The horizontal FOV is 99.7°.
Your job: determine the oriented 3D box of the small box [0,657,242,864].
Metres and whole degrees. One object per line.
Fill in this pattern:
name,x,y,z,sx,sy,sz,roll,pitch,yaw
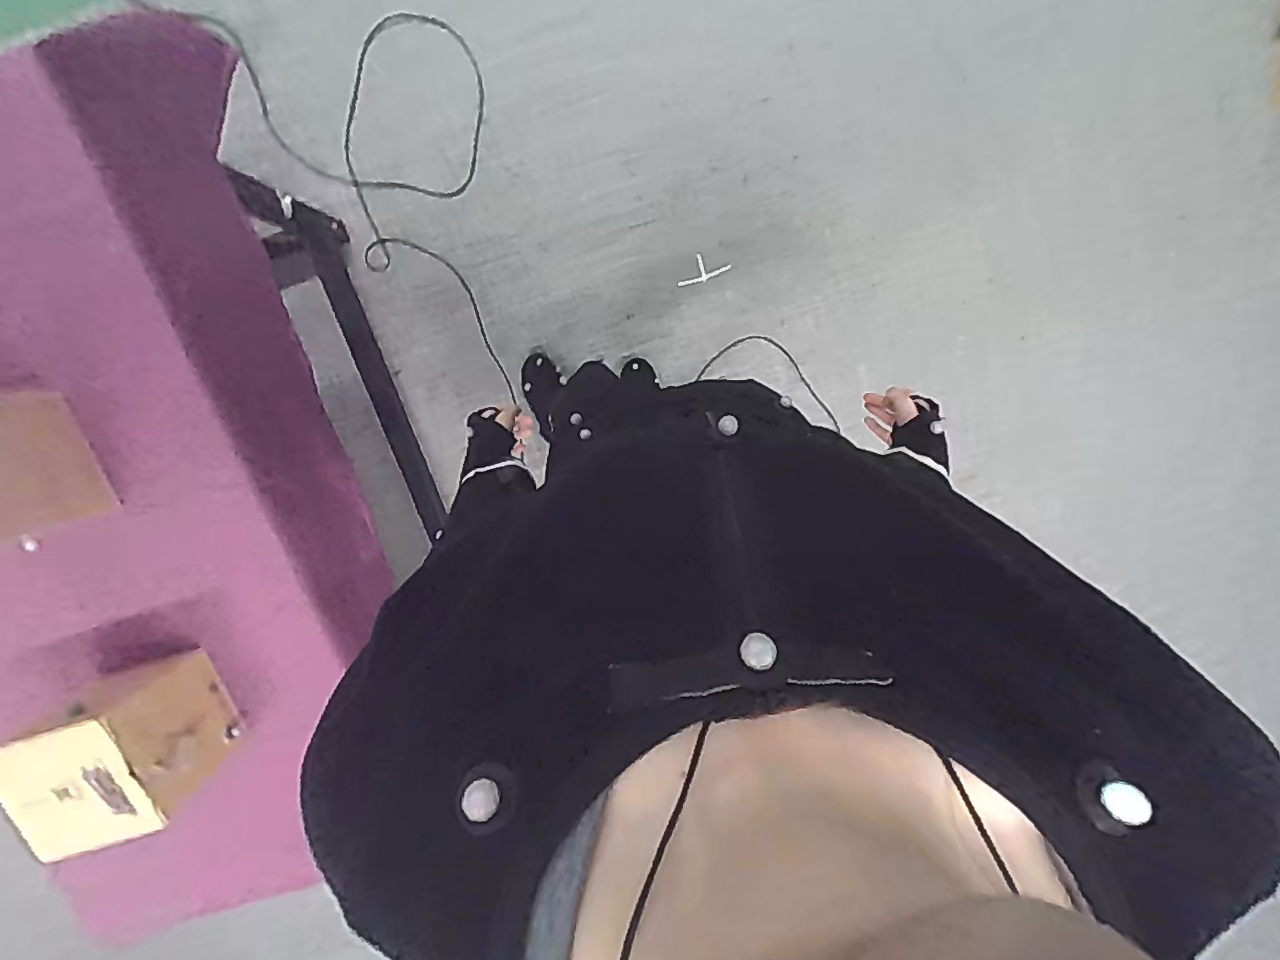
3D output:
small box,-0.700,0.372,0.746,0.179,0.176,0.168,-17,102,3

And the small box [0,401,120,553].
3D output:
small box,-0.819,0.006,0.662,0.168,0.176,0.179,-16,102,3
